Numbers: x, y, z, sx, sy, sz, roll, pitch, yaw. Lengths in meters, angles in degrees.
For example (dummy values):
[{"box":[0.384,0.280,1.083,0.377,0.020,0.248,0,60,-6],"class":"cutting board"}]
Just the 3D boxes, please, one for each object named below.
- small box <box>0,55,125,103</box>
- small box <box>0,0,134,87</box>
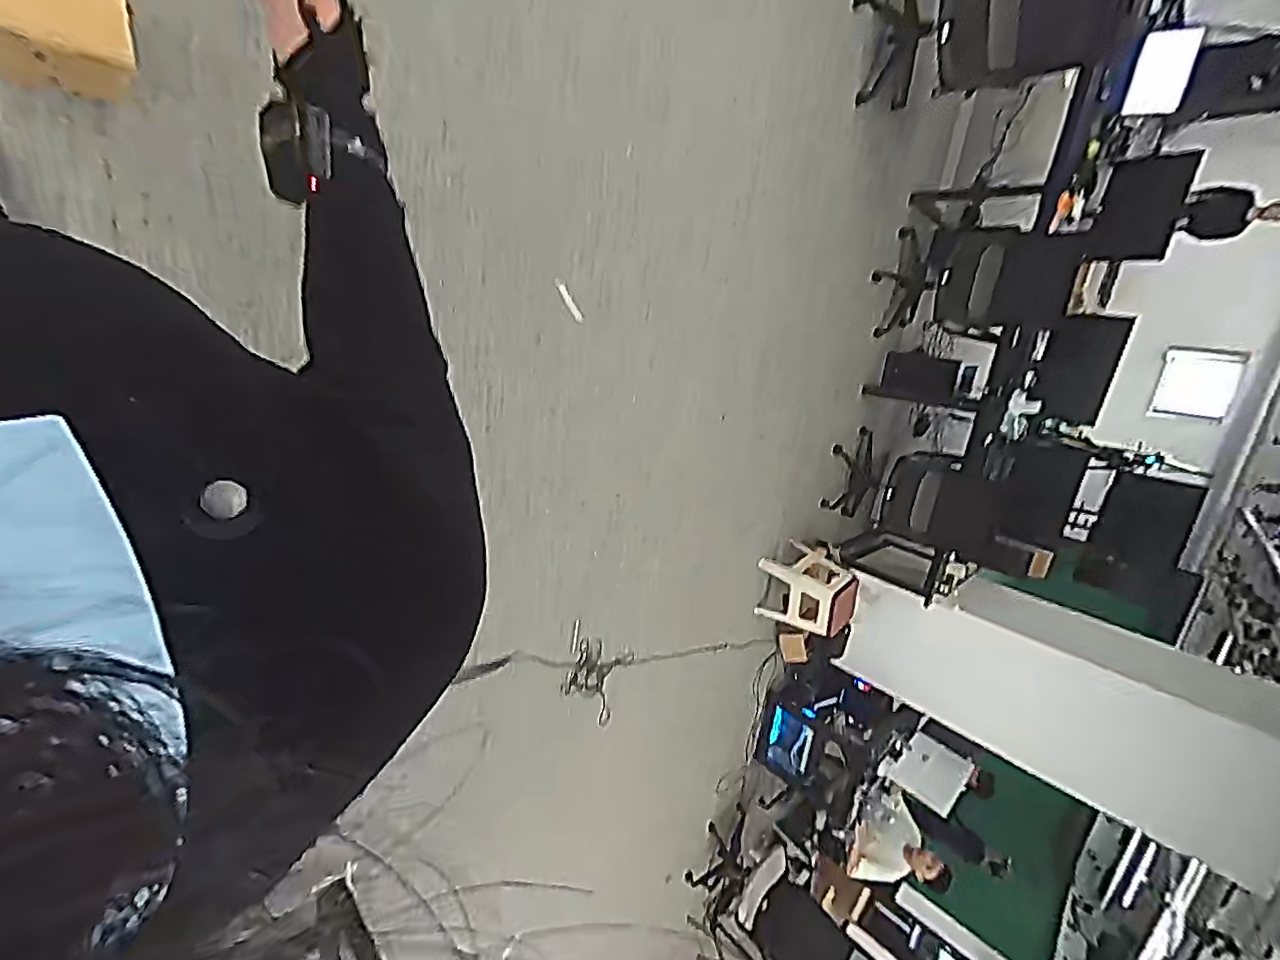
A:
[{"box":[-0.936,-0.724,0.847,0.168,0.176,0.179,-12,114,-44],"class":"small box"},{"box":[-0.822,-0.680,0.739,0.168,0.176,0.179,-10,114,-44],"class":"small box"}]
